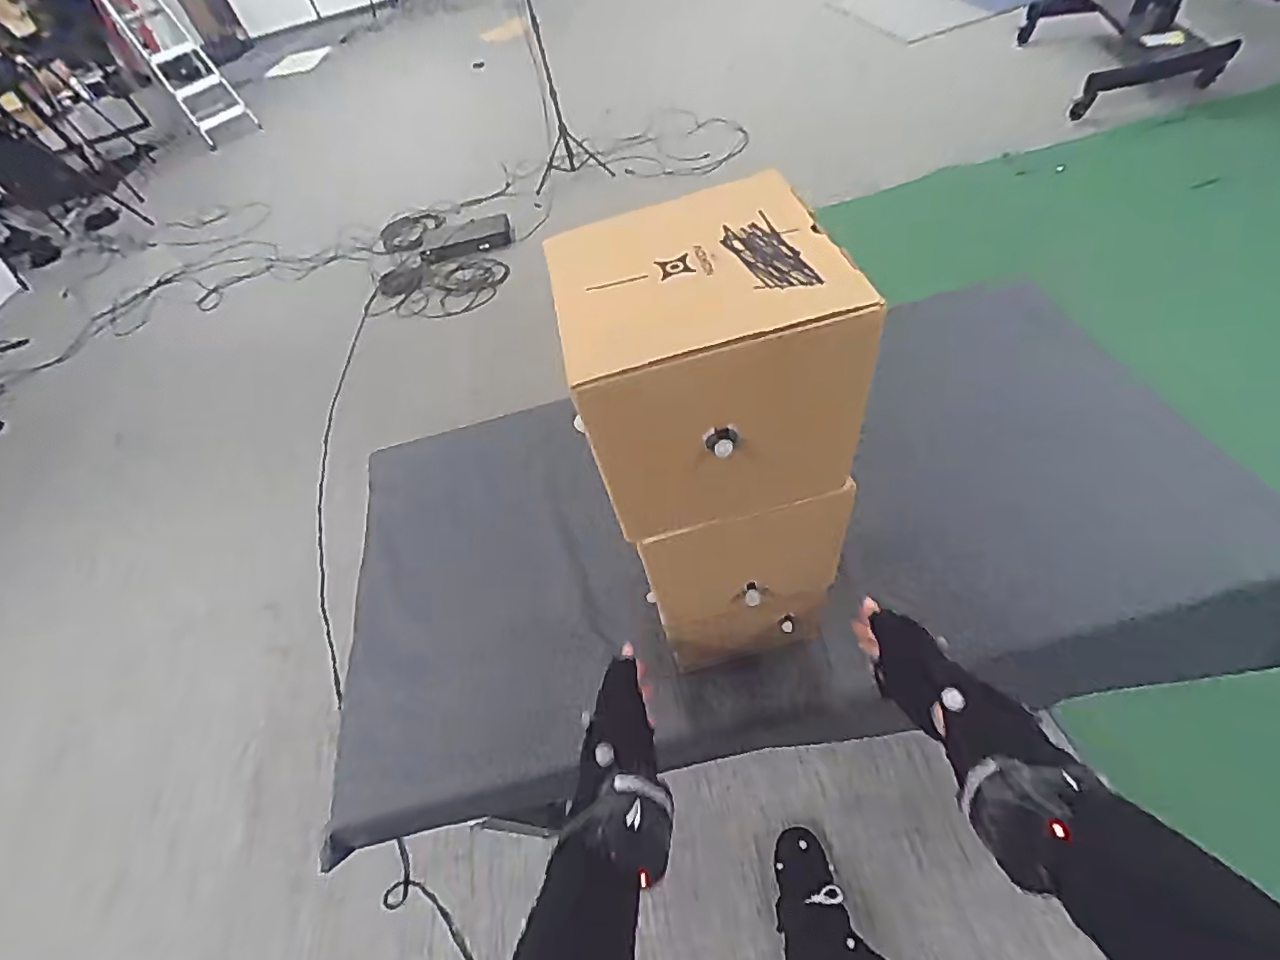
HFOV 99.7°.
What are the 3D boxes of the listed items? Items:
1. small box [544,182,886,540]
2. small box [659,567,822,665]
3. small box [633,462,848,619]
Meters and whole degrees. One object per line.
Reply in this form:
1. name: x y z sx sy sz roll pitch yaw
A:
1. small box: 0.044 -0.081 0.400 0.179 0.176 0.168 -16 53 -2
2. small box: 0.102 0.105 0.663 0.179 0.176 0.168 -17 52 1
3. small box: 0.076 0.015 0.530 0.179 0.176 0.168 -15 52 1
